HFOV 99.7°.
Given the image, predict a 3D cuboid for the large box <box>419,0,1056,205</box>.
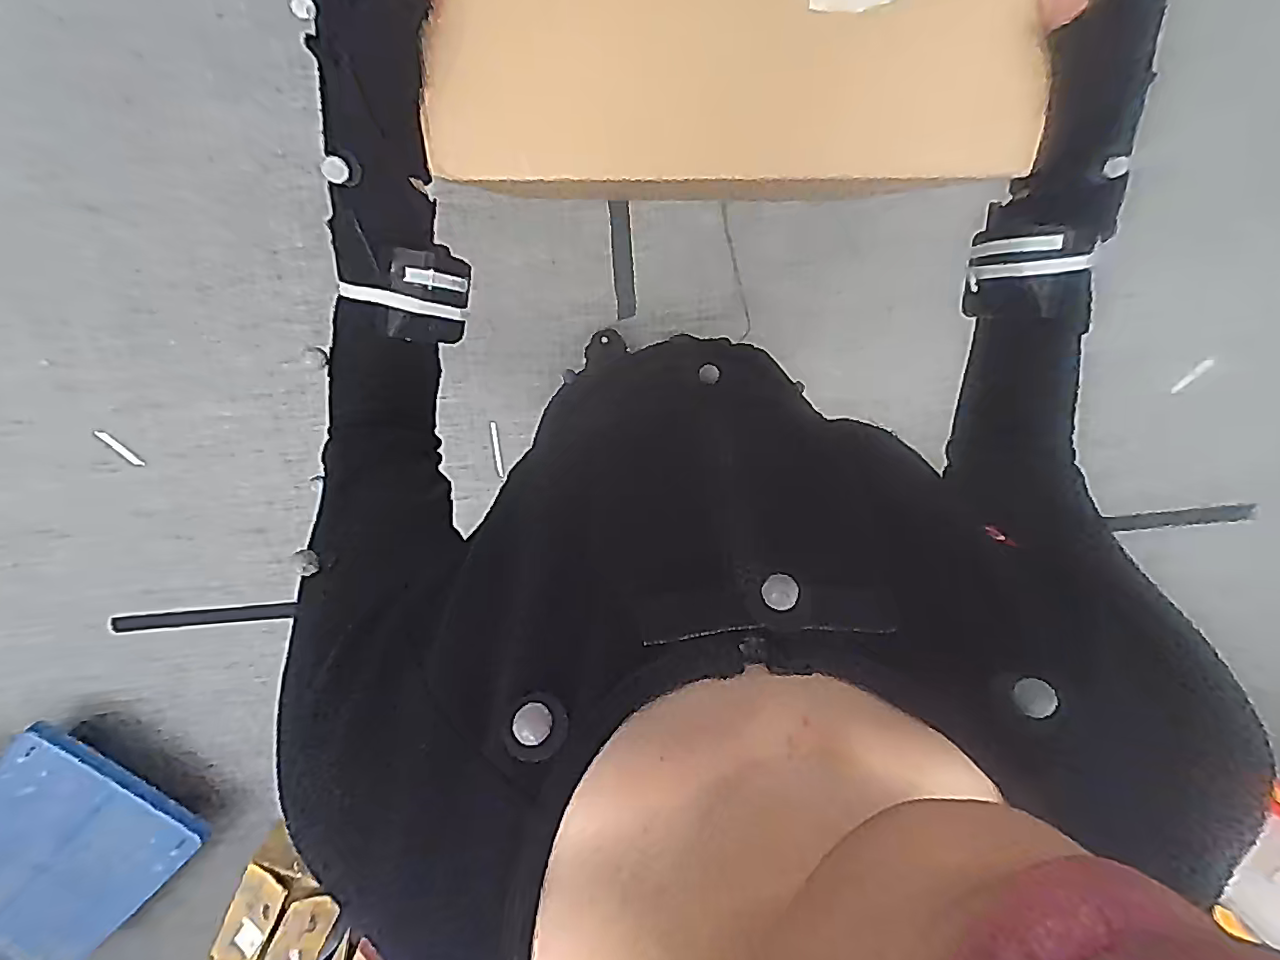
[{"bbox_3d":[0.055,-0.412,0.444,0.408,0.320,0.320,-2,115,-1],"label":"large box"}]
